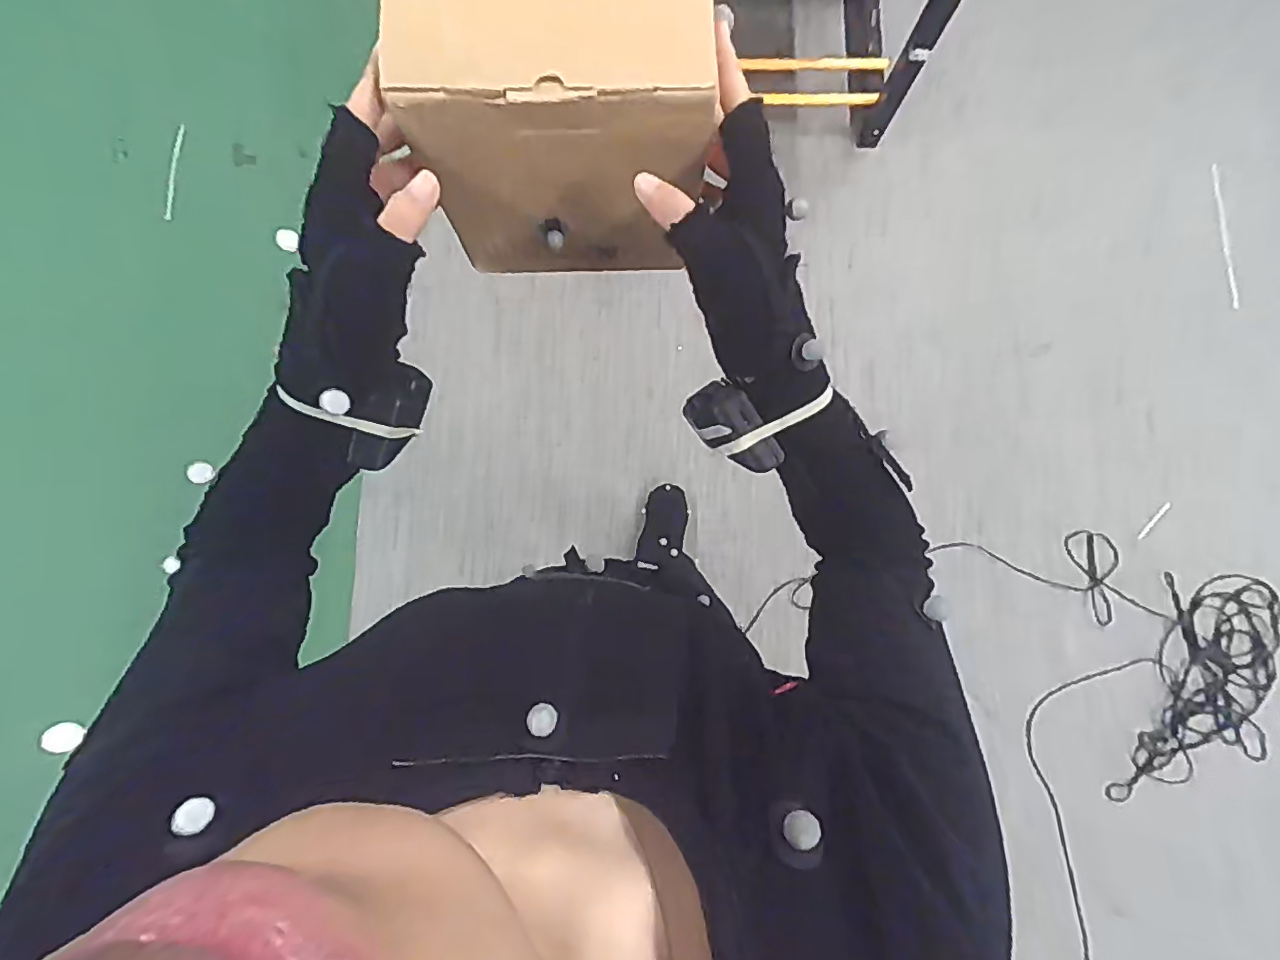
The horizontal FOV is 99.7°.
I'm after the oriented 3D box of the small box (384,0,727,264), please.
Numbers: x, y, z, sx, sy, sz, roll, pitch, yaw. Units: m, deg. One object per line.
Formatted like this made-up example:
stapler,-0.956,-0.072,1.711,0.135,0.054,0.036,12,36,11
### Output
small box,-0.043,-0.264,0.348,0.168,0.176,0.179,-2,82,-1
